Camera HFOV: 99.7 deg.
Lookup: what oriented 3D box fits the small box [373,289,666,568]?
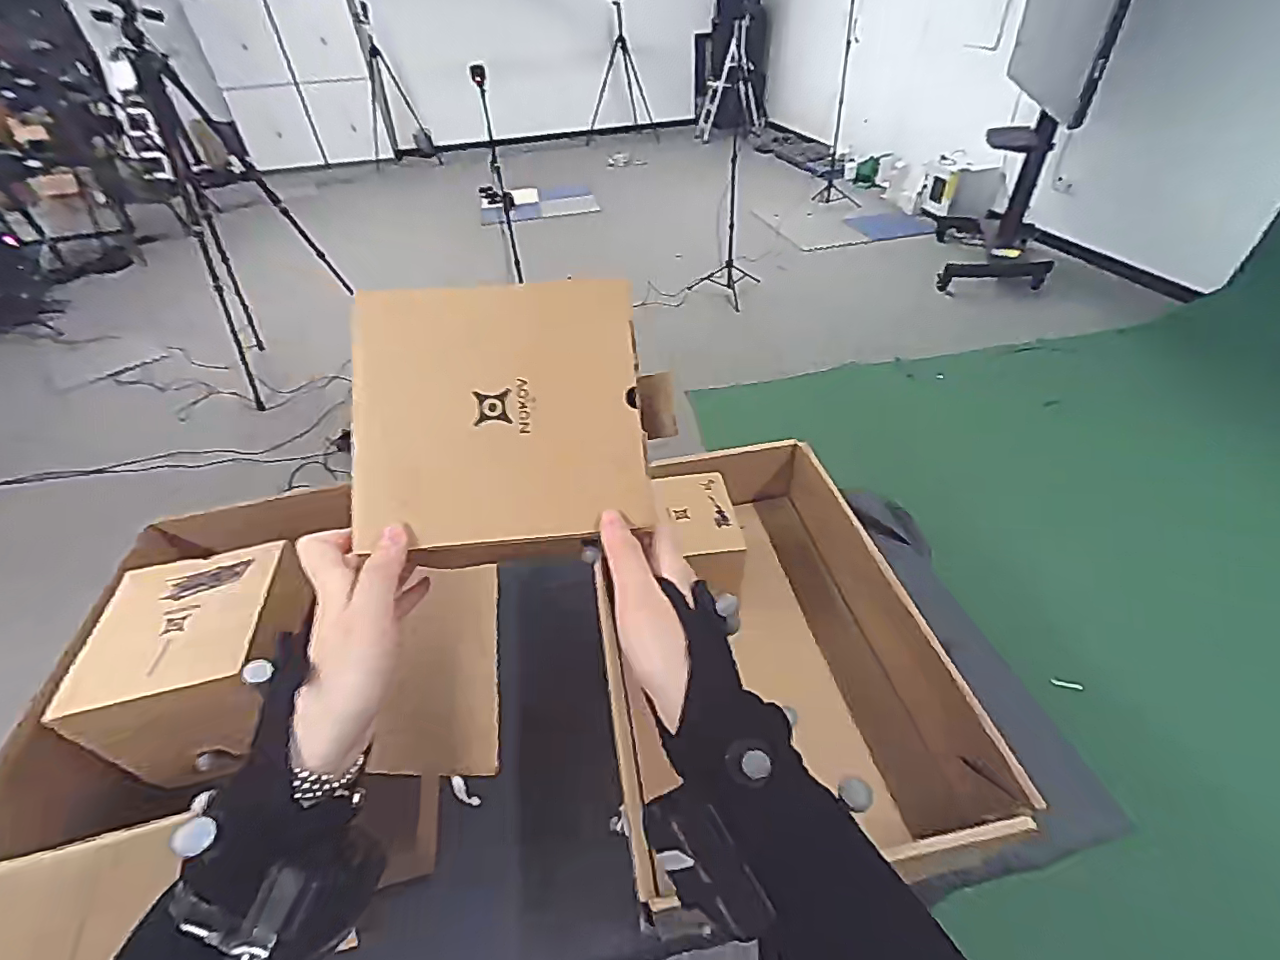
[{"bbox_3d":[-0.080,-0.024,0.414,0.179,0.176,0.168,-5,79,-5],"label":"small box"}]
